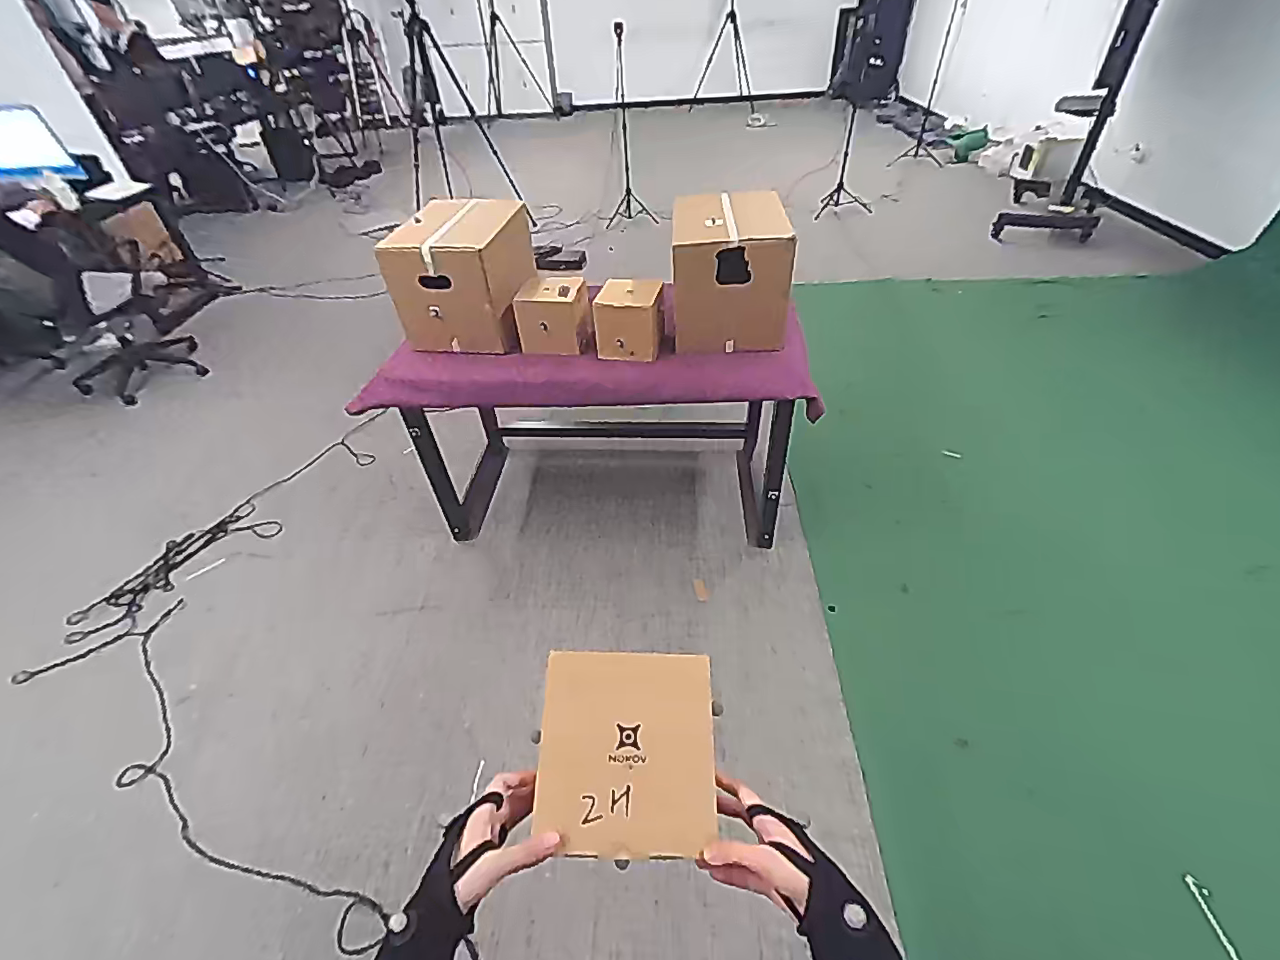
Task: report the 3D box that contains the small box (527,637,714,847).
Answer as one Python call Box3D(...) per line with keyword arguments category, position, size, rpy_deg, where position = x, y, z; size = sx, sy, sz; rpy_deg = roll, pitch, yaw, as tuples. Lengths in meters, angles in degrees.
Box3D(category="small box", position=(-0.016, 0.280, 0.578), size=(0.168, 0.176, 0.179), rpy_deg=(2, 59, 0))

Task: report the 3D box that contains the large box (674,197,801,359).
Box3D(category="large box", position=(0.263, -0.599, 1.588), size=(0.320, 0.320, 0.408), rpy_deg=(-2, 43, 6))
